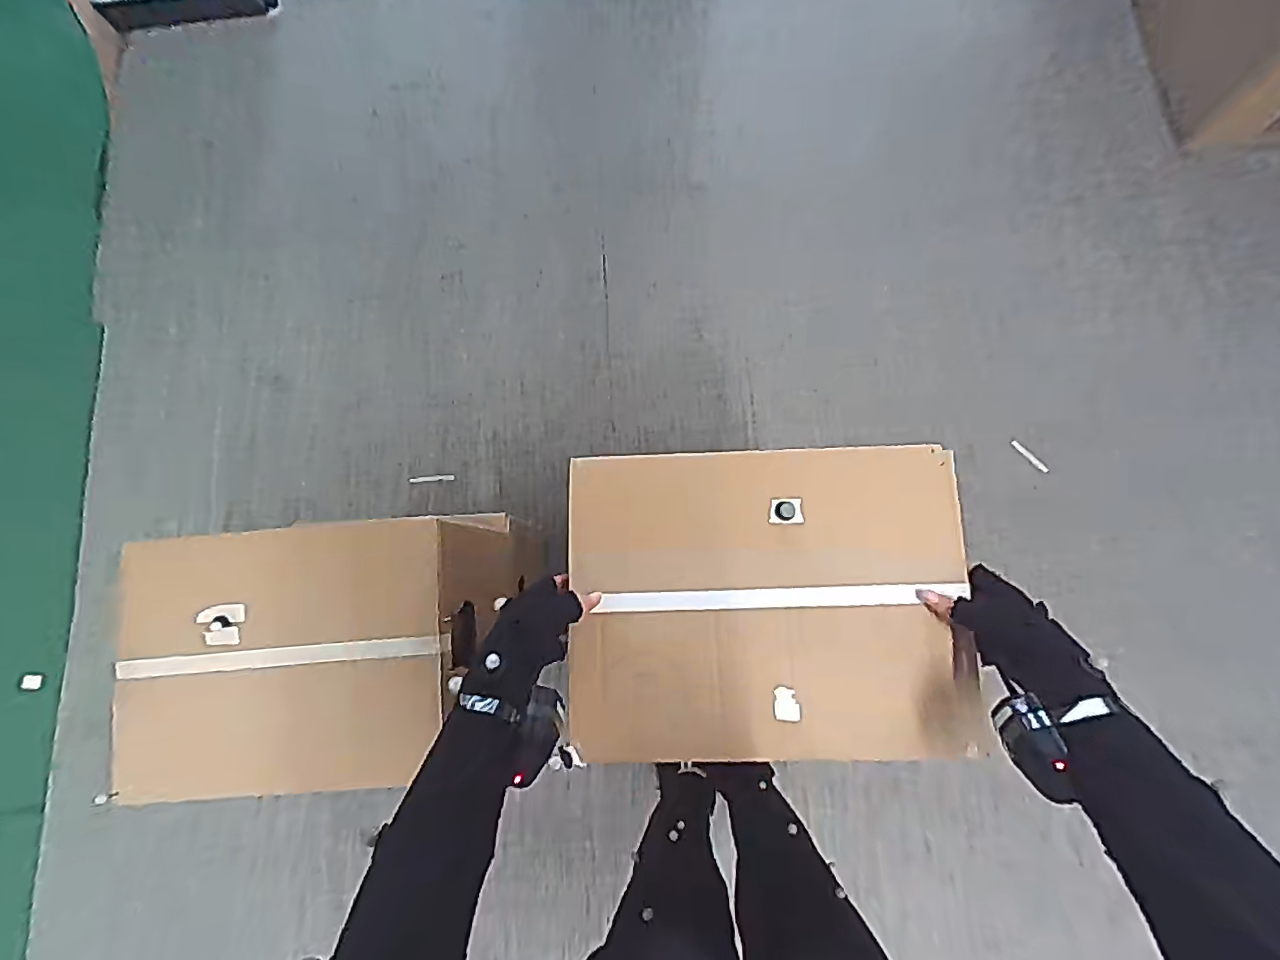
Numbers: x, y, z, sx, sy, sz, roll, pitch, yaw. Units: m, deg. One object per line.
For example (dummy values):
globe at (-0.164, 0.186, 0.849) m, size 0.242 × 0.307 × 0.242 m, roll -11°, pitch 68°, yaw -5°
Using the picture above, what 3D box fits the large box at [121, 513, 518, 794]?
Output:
large box at (-0.425, 0.227, 0.803) m, size 0.408 × 0.320 × 0.320 m, roll -4°, pitch 82°, yaw 4°
